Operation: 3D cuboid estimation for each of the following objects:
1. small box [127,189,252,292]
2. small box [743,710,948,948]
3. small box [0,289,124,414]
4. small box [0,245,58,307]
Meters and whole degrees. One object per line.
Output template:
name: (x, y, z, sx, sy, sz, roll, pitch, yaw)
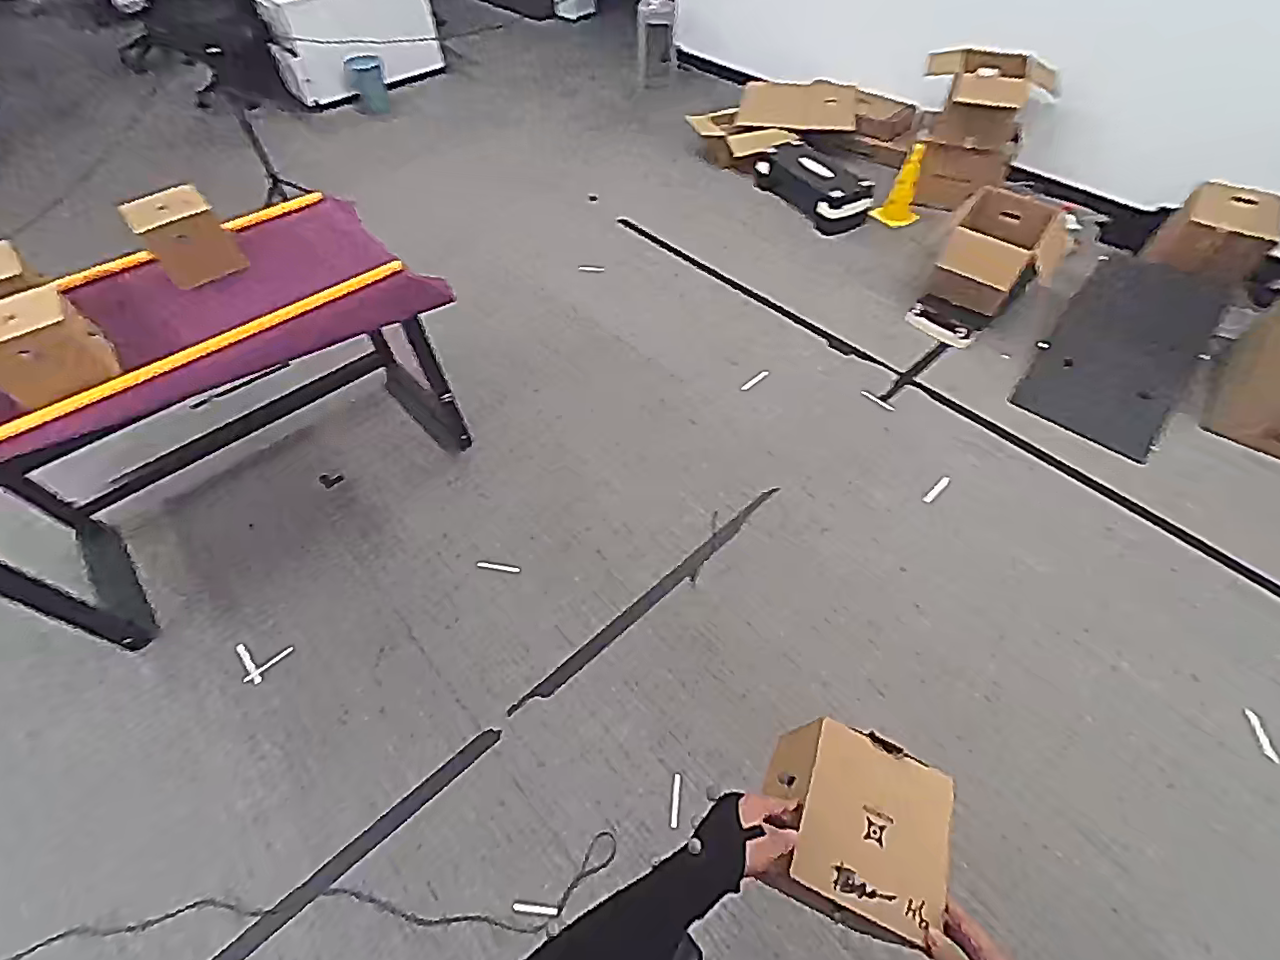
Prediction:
small box: (-1.192, -0.634, 1.440, 0.179, 0.176, 0.168, -36, 63, -22)
small box: (0.242, 0.416, 0.660, 0.168, 0.176, 0.179, 24, 55, 7)
small box: (-1.294, -0.280, 1.190, 0.179, 0.176, 0.168, -34, 61, -21)
small box: (-1.500, -0.422, 1.294, 0.168, 0.176, 0.179, -39, 64, -23)
